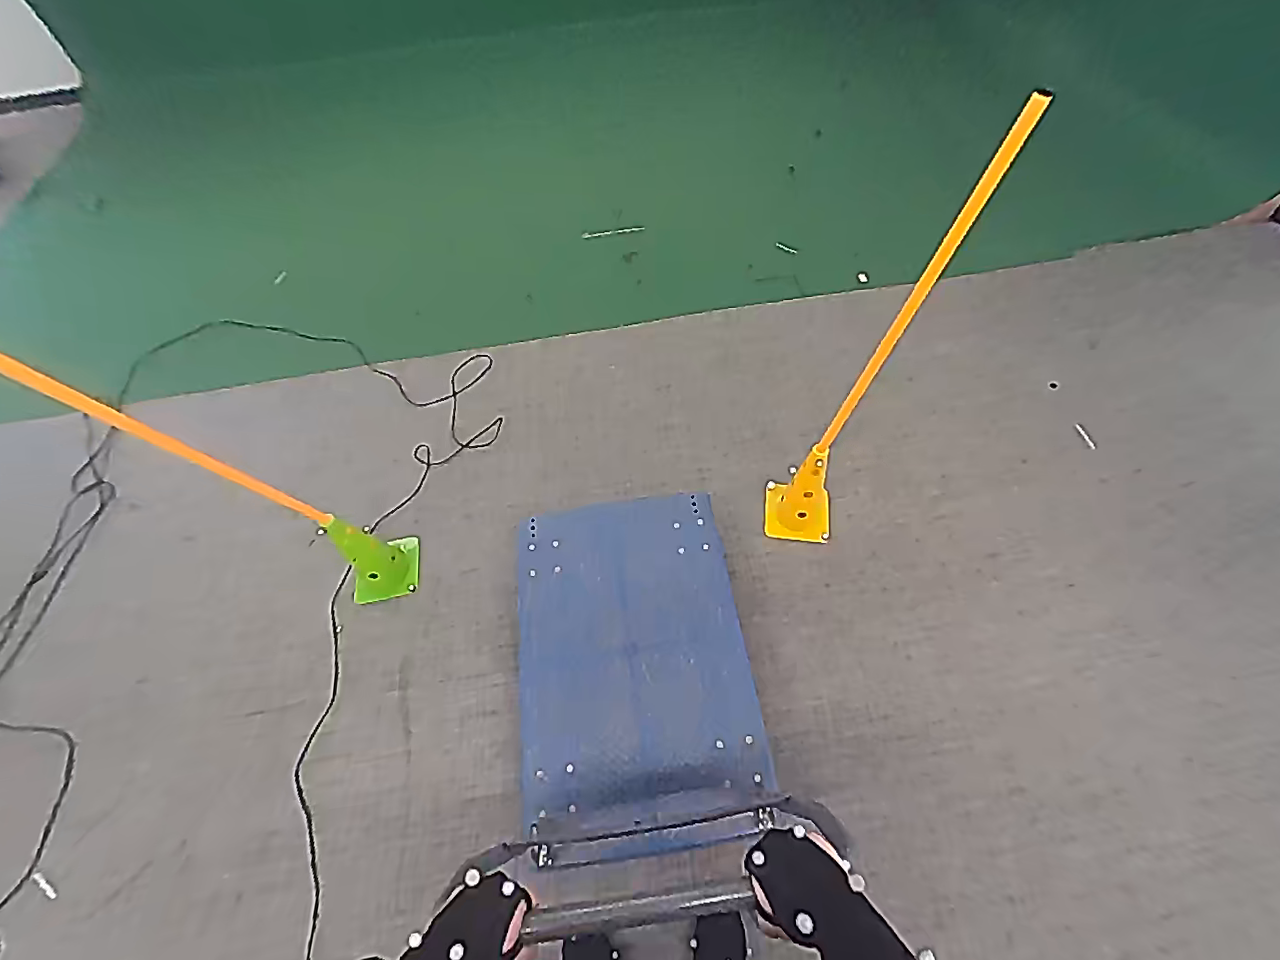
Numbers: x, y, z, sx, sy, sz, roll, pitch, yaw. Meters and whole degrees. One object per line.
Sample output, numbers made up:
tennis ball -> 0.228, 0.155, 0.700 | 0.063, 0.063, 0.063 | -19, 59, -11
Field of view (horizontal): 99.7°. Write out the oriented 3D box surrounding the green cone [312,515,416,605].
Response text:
green cone -> -0.832, 0.200, 1.589 | 0.202, 0.368, 0.200 | -13, 58, -2
